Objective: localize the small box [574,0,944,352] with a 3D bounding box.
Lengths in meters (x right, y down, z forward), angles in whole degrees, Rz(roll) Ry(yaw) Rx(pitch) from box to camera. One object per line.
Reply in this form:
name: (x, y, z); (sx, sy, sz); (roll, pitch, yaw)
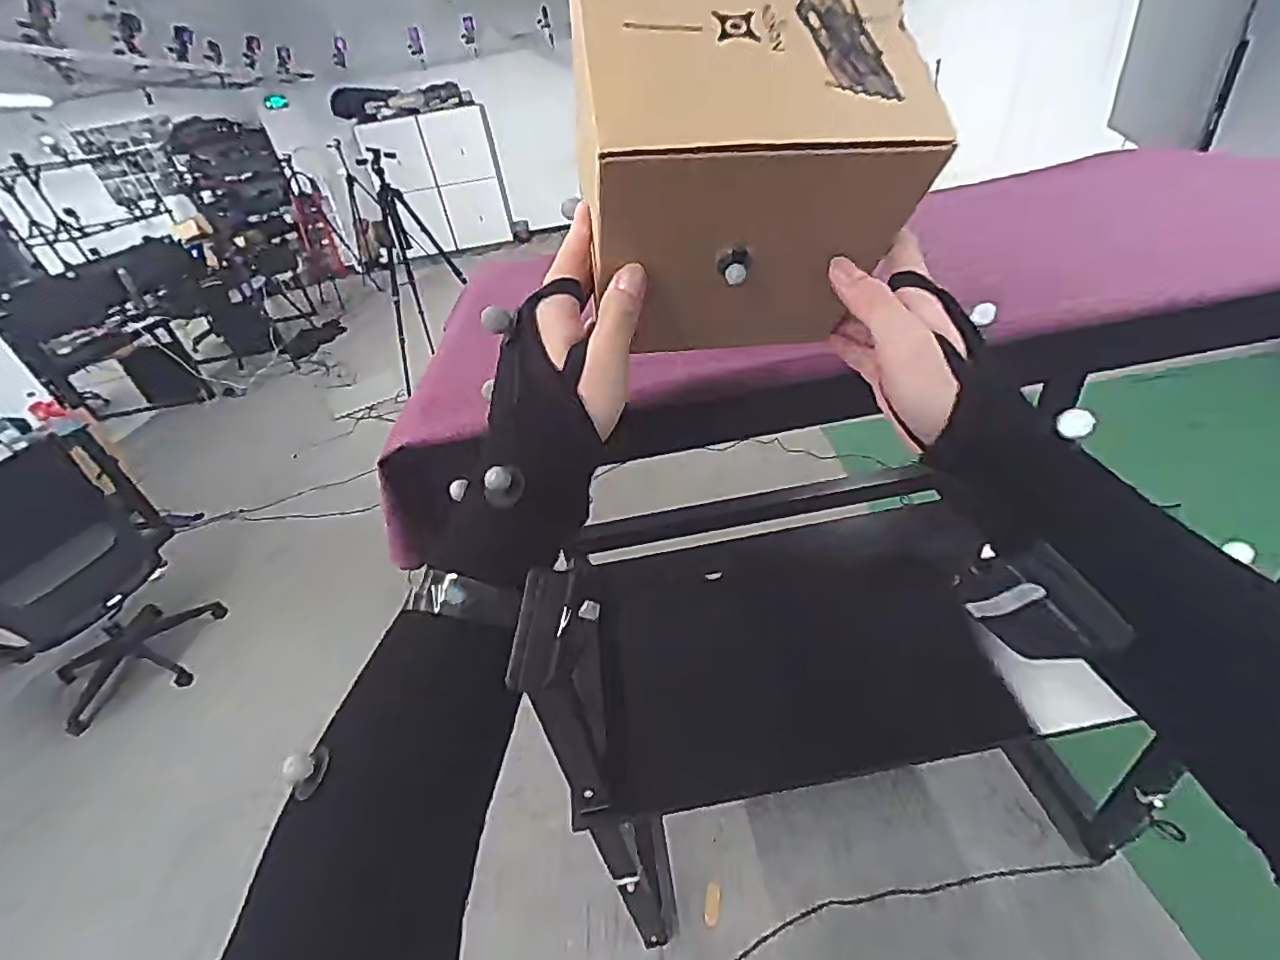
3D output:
small box: (0.051, -0.201, 0.356); (0.179, 0.176, 0.168); (-6, 71, -5)
